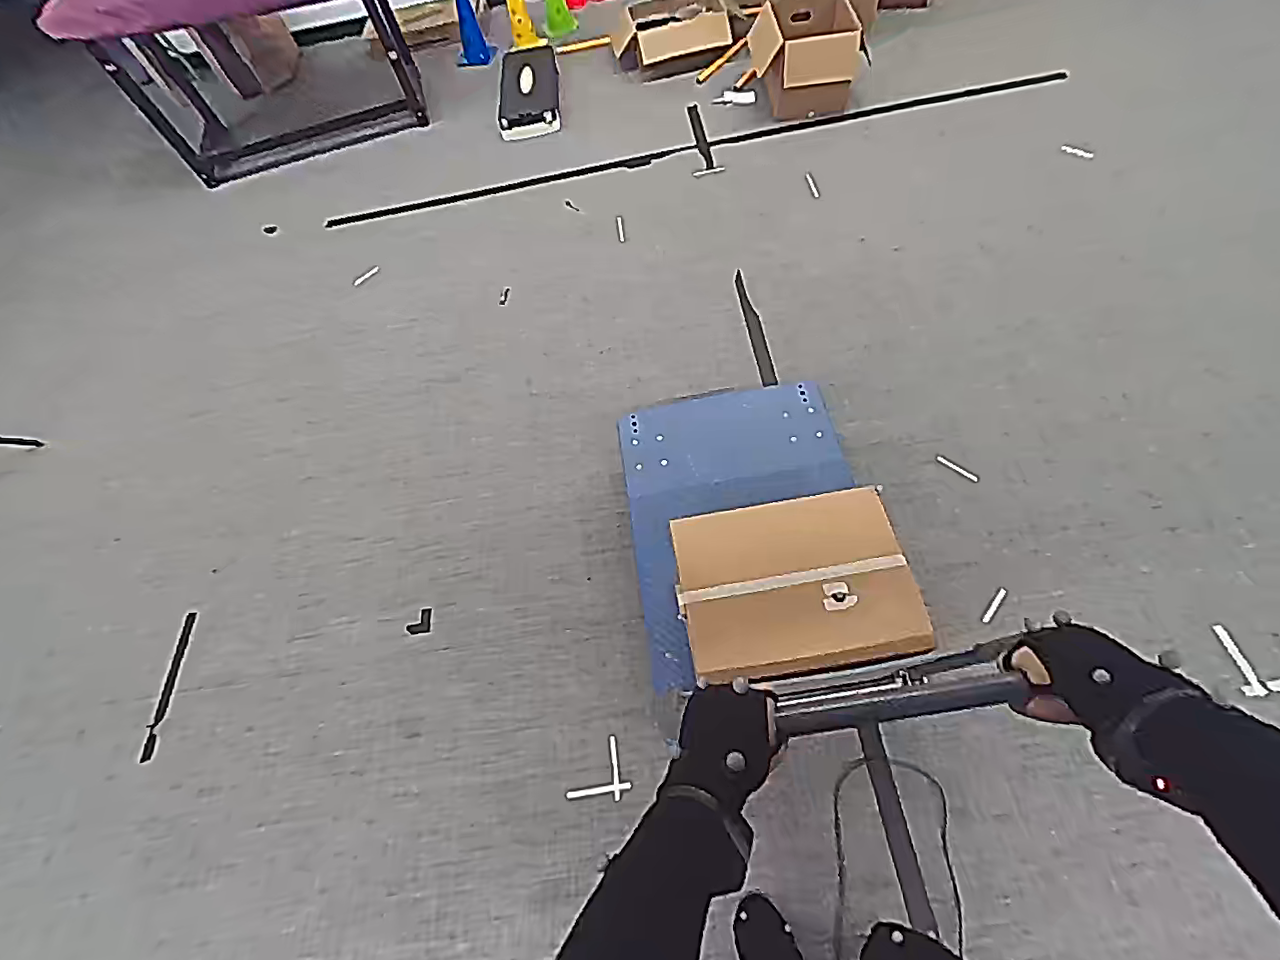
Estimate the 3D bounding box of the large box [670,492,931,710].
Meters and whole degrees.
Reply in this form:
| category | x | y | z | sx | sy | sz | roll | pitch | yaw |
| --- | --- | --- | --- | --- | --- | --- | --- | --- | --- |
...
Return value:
| category | x | y | z | sx | sy | sz | roll | pitch | yaw |
| --- | --- | --- | --- | --- | --- | --- | --- | --- | --- |
| large box | 0.291 | 0.263 | 1.118 | 0.408 | 0.320 | 0.320 | -10 | 62 | 1 |
